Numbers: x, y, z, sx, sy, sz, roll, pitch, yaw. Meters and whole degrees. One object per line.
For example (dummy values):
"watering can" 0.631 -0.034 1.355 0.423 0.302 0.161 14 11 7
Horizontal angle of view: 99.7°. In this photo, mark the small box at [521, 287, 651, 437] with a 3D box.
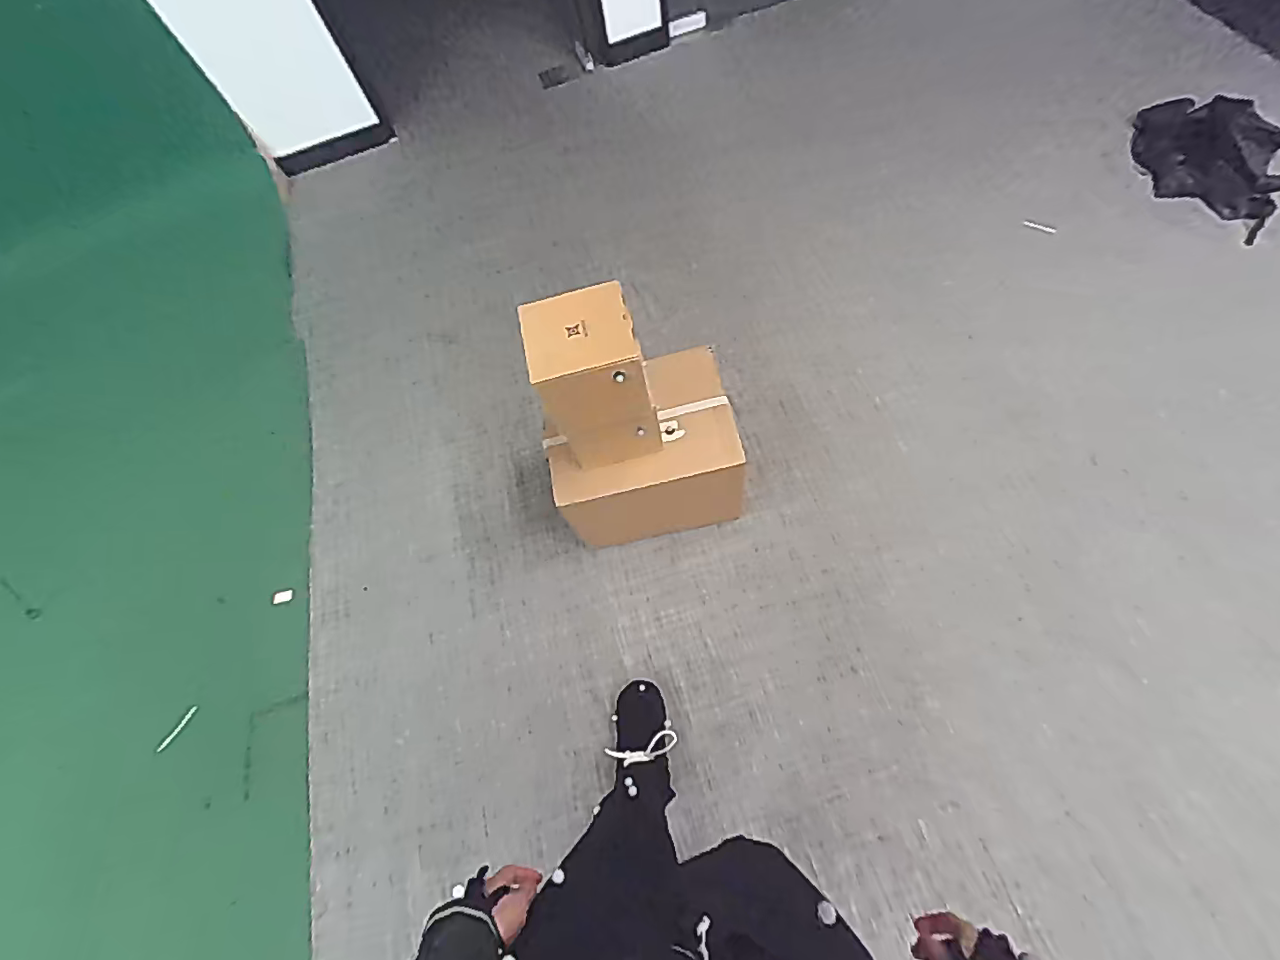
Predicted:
"small box" -0.088 -0.194 0.931 0.179 0.176 0.168 -15 64 0

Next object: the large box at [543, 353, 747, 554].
"large box" 0.013 -0.049 1.302 0.408 0.320 0.320 -13 64 1
